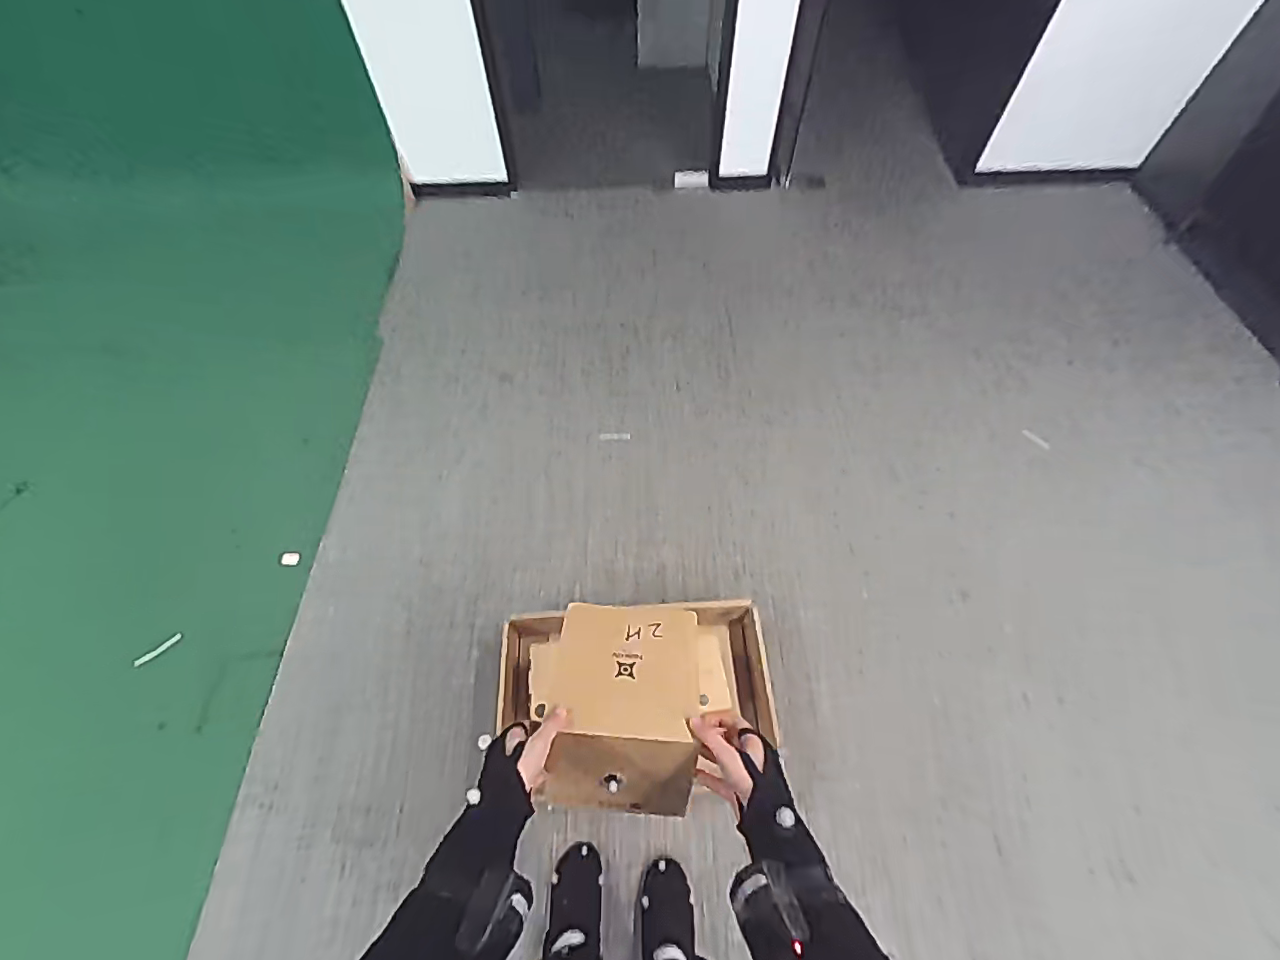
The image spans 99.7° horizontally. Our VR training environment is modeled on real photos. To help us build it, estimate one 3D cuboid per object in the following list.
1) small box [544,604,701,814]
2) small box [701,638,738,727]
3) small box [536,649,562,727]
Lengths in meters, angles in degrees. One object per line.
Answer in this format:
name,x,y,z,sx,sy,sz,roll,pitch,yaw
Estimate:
small box,-0.013,0.277,0.660,0.168,0.176,0.179,4,35,2
small box,0.120,0.492,1.280,0.179,0.176,0.168,-9,59,-4
small box,-0.145,0.500,1.281,0.179,0.176,0.168,-6,60,-3
